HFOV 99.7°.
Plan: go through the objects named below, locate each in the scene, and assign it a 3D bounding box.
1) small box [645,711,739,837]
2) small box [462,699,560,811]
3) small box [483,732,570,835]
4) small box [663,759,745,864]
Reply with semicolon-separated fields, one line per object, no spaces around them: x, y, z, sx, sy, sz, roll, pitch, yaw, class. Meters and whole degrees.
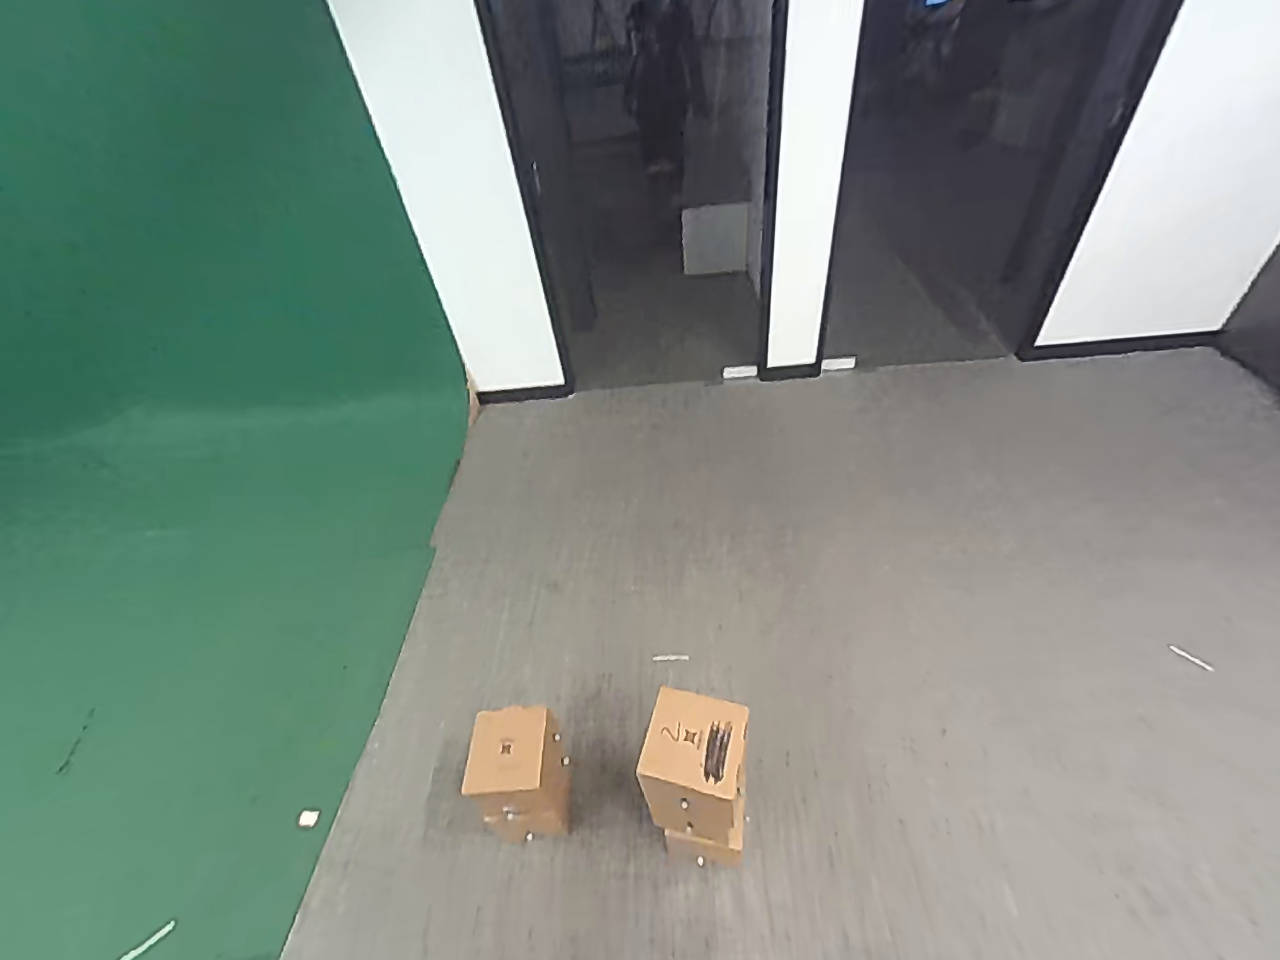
0.118;0.628;1.151;0.168;0.176;0.179;7;46;15;small box
-0.279;0.620;1.217;0.168;0.176;0.179;-6;43;3;small box
-0.270;0.742;1.325;0.168;0.176;0.179;-6;43;2;small box
0.152;0.753;1.252;0.168;0.176;0.179;4;45;13;small box
